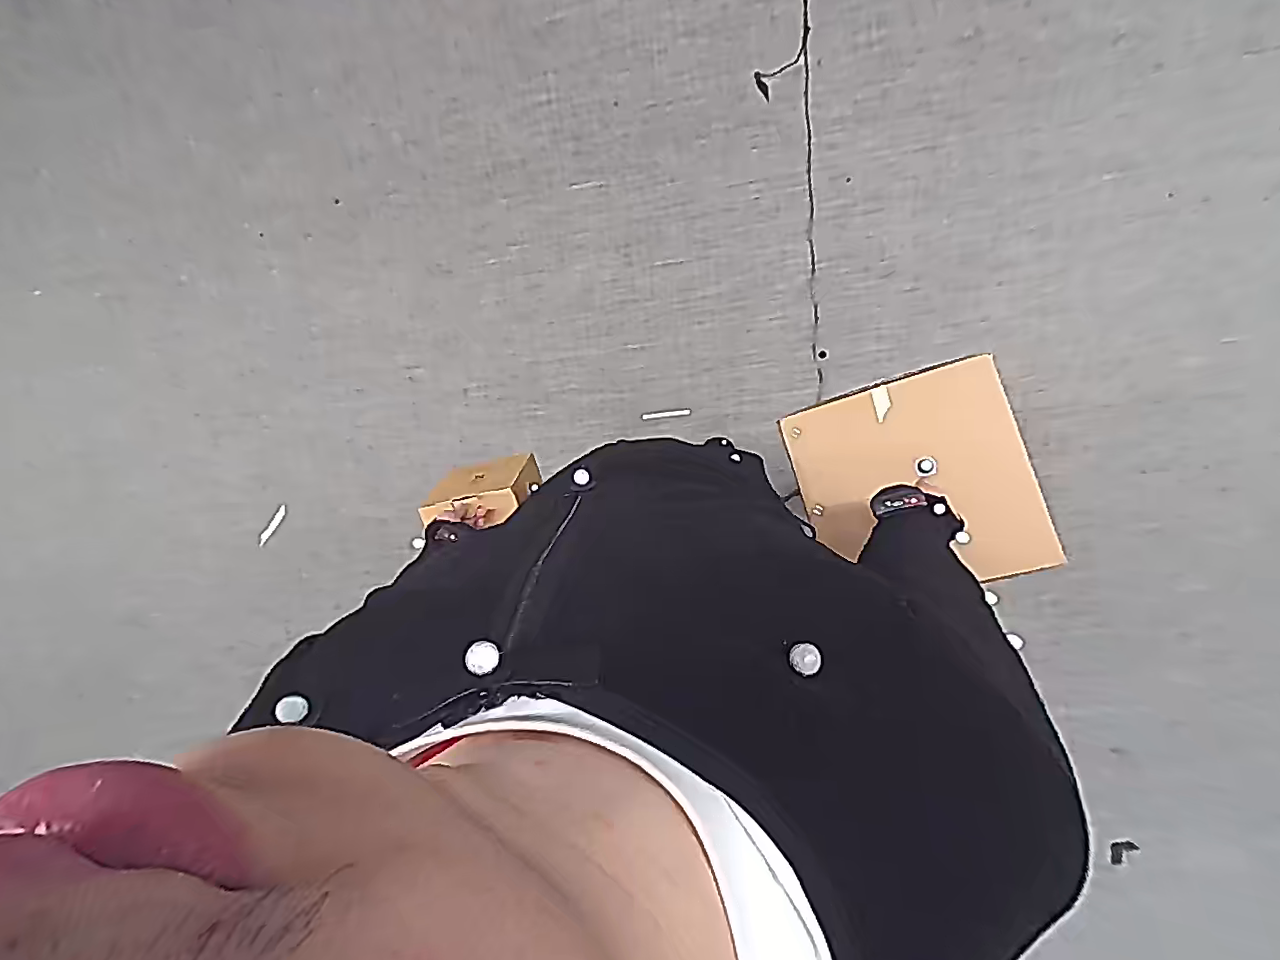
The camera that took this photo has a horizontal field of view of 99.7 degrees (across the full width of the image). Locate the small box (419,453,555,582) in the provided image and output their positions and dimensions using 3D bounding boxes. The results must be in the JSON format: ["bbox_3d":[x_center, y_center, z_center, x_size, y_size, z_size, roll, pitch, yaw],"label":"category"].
[{"bbox_3d":[-0.266,0.072,0.988,0.168,0.179,0.176,-12,111,6],"label":"small box"}]
